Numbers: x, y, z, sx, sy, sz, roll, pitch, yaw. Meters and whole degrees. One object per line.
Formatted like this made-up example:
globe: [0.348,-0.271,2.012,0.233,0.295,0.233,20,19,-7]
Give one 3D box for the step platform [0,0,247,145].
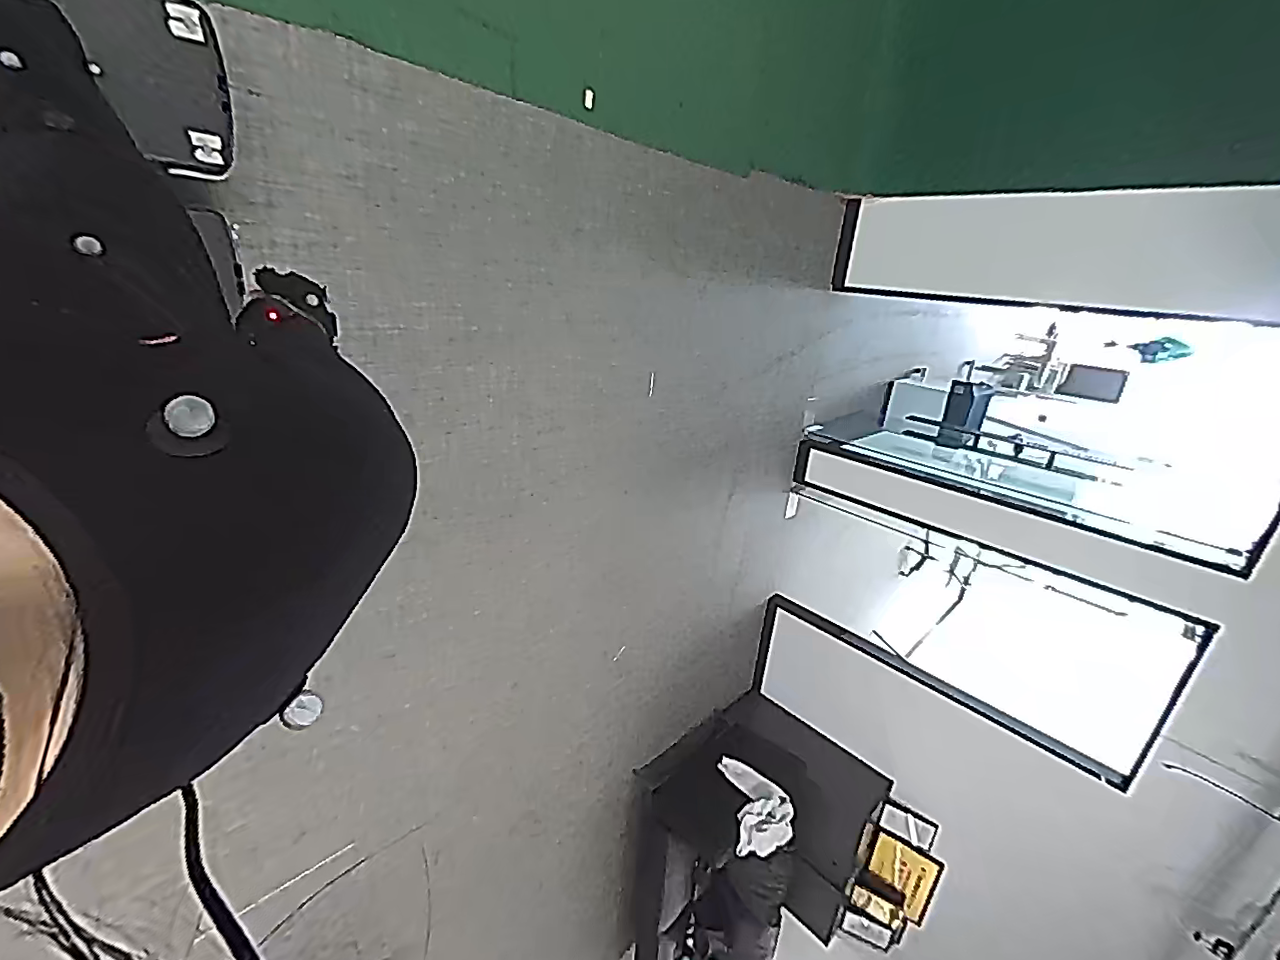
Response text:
step platform: [-0.939,-0.661,0.692,0.684,0.204,0.286,-15,120,-42]
